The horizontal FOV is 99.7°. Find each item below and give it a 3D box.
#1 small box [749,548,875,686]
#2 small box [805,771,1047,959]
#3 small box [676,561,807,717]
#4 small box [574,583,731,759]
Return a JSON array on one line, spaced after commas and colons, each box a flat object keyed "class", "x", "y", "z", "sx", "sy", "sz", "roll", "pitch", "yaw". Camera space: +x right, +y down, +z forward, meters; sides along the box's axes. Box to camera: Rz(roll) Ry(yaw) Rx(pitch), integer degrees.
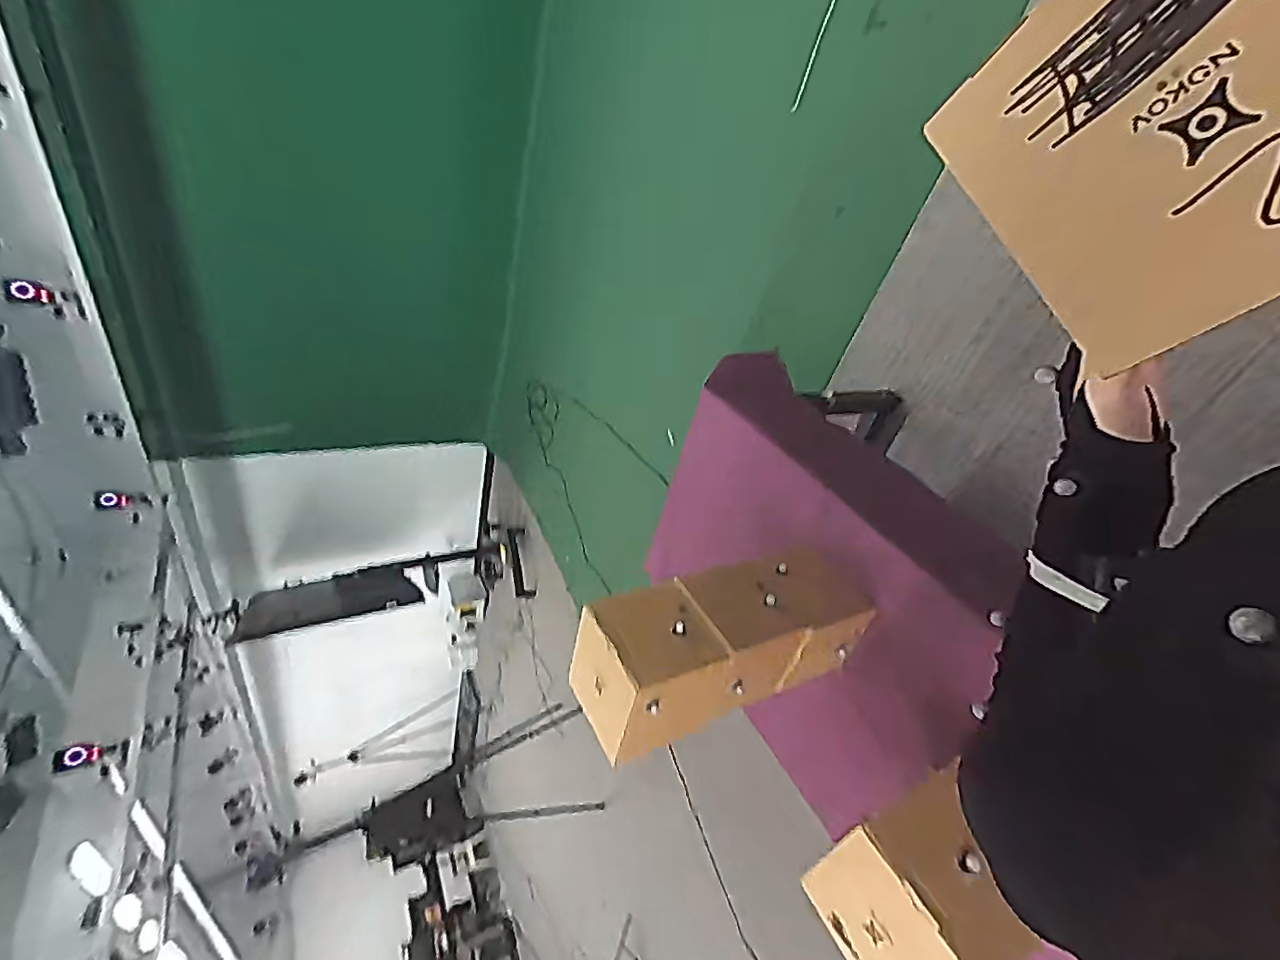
[{"class": "small box", "x": 0.293, "y": 0.244, "z": 1.009, "sx": 0.179, "sy": 0.176, "sz": 0.168, "roll": 50, "pitch": 137, "yaw": 42}, {"class": "small box", "x": 0.344, "y": 0.492, "z": 0.656, "sx": 0.168, "sy": 0.176, "sz": 0.179, "roll": 53, "pitch": 137, "yaw": 41}, {"class": "small box", "x": 0.154, "y": 0.264, "z": 0.925, "sx": 0.168, "sy": 0.176, "sz": 0.179, "roll": 49, "pitch": 135, "yaw": 42}, {"class": "small box", "x": 0.016, "y": 0.288, "z": 0.843, "sx": 0.168, "sy": 0.176, "sz": 0.179, "roll": 47, "pitch": 133, "yaw": 44}]
